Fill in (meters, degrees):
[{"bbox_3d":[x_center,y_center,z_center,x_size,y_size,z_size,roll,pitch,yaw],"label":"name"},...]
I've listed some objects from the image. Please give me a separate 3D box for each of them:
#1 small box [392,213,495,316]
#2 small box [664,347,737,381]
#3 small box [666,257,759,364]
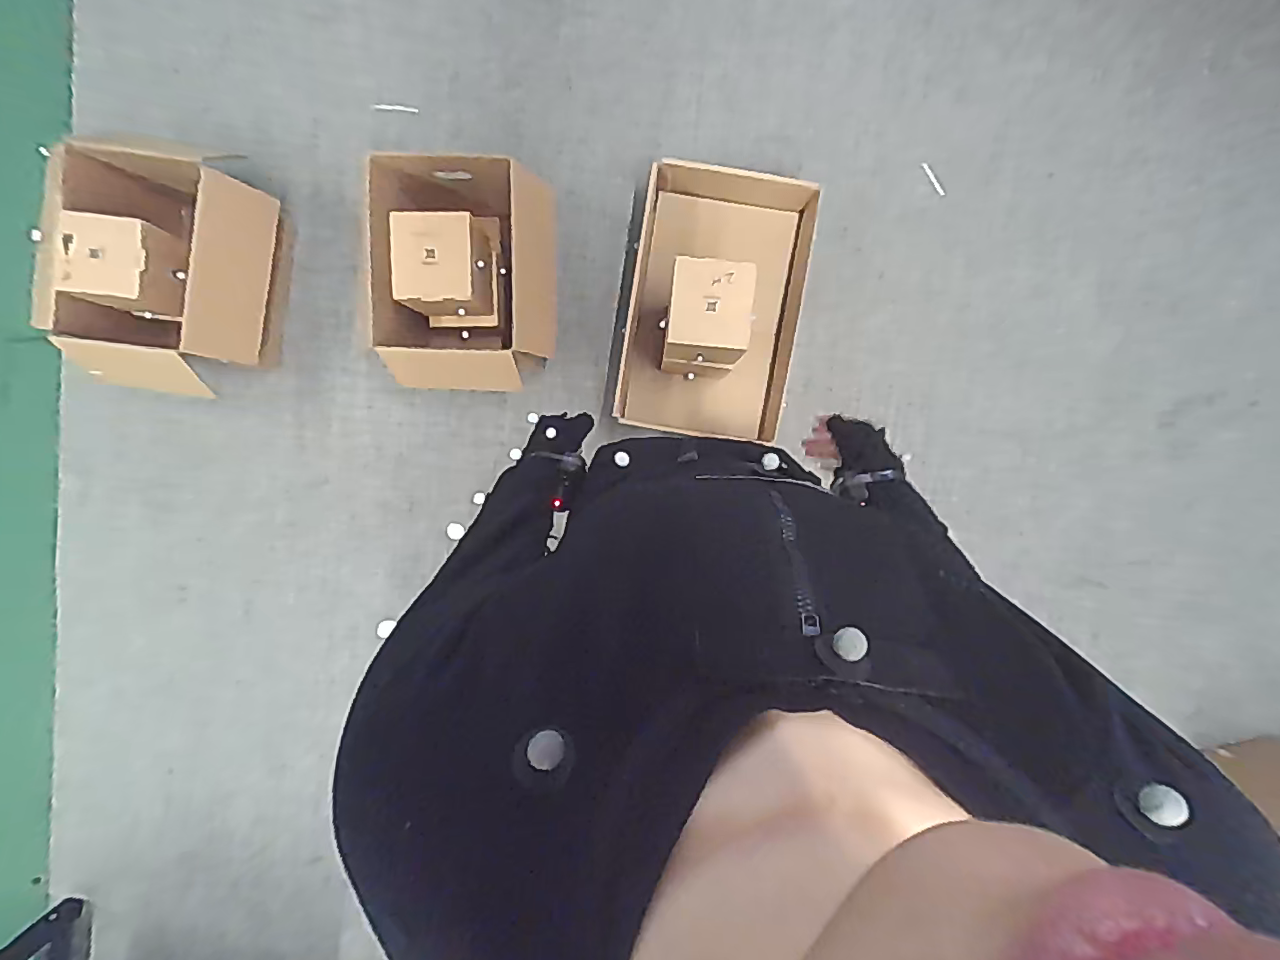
[{"bbox_3d":[-0.421,-0.462,1.182,0.168,0.176,0.179,1,95,0],"label":"small box"},{"bbox_3d":[0.151,-0.349,1.312,0.168,0.176,0.179,8,92,0],"label":"small box"},{"bbox_3d":[0.146,-0.350,1.147,0.168,0.176,0.179,5,92,0],"label":"small box"}]
